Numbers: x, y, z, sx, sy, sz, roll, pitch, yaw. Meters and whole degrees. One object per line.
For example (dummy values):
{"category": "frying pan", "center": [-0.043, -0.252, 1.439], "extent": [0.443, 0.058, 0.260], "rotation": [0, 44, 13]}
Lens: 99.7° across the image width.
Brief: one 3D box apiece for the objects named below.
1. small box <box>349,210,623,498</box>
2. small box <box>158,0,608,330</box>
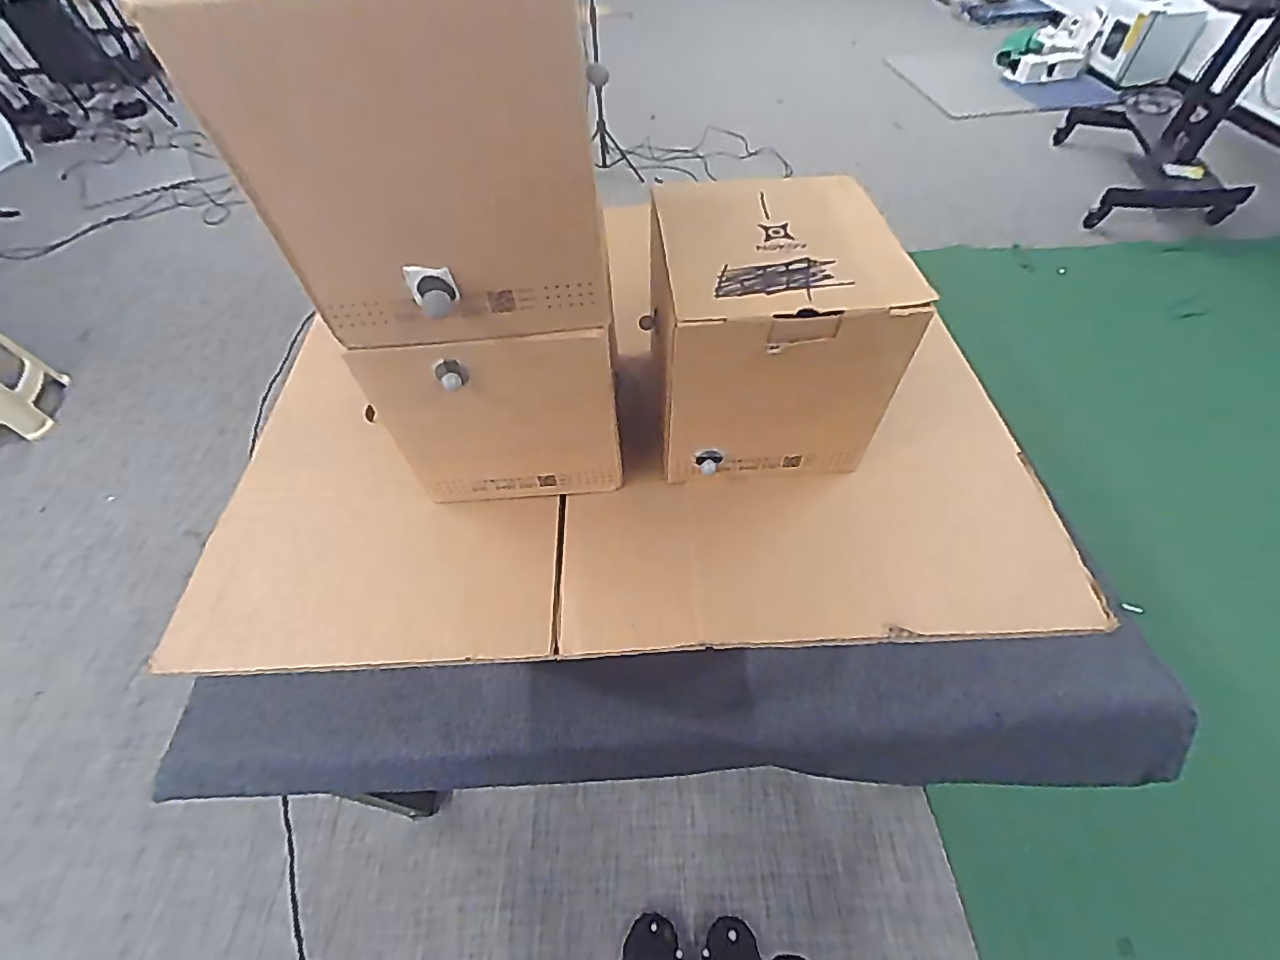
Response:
{"category": "small box", "center": [-0.104, -0.105, 0.457], "extent": [0.168, 0.176, 0.179], "rotation": [-4, 52, 2]}
{"category": "small box", "center": [-0.112, -0.213, 0.315], "extent": [0.168, 0.176, 0.179], "rotation": [-7, 55, -1]}
